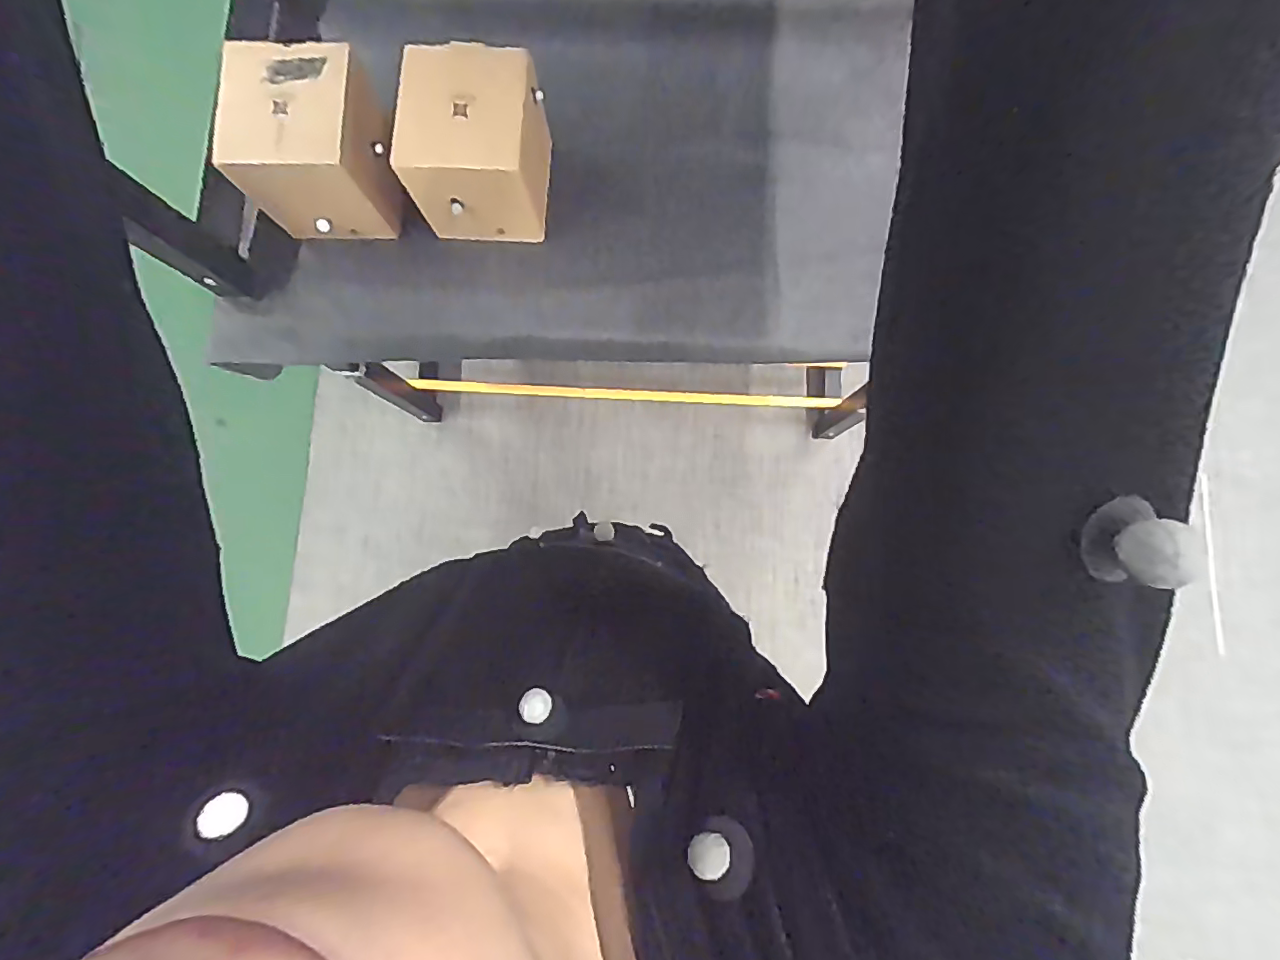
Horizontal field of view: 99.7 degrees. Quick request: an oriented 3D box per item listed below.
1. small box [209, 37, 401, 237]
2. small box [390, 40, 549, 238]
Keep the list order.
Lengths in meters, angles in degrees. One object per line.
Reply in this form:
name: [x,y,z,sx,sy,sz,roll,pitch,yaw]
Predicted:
small box: [-0.454,-0.473,0.763,0.168,0.176,0.179,0,83,1]
small box: [-0.227,-0.468,0.764,0.168,0.176,0.179,3,82,1]
